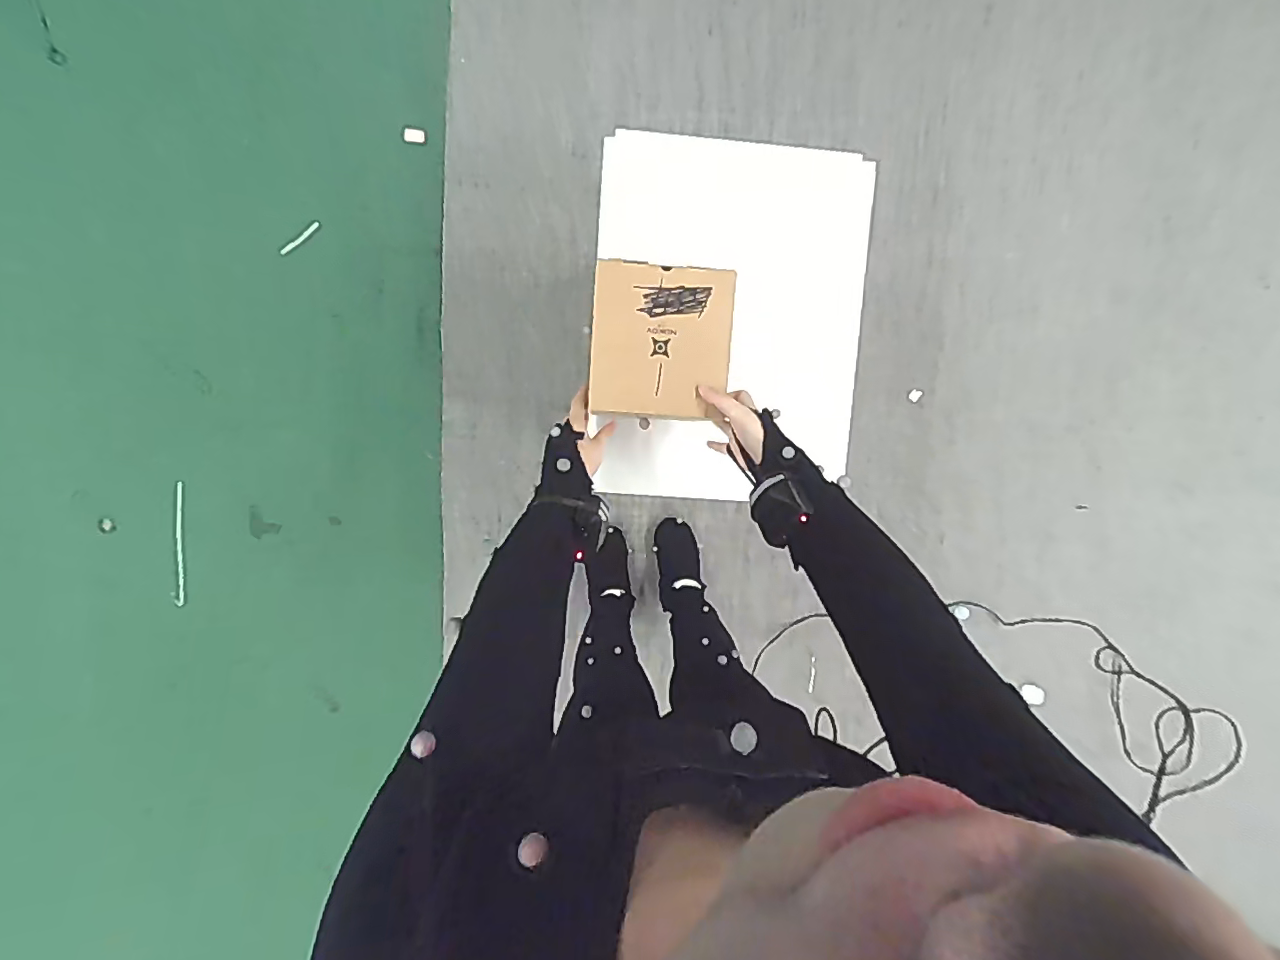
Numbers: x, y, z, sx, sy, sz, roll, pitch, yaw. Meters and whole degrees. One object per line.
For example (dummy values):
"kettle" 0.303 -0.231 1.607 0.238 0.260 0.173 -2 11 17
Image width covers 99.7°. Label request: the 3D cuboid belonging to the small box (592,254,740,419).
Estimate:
"small box" 0.025 -0.175 0.710 0.168 0.176 0.179 4 96 -3
